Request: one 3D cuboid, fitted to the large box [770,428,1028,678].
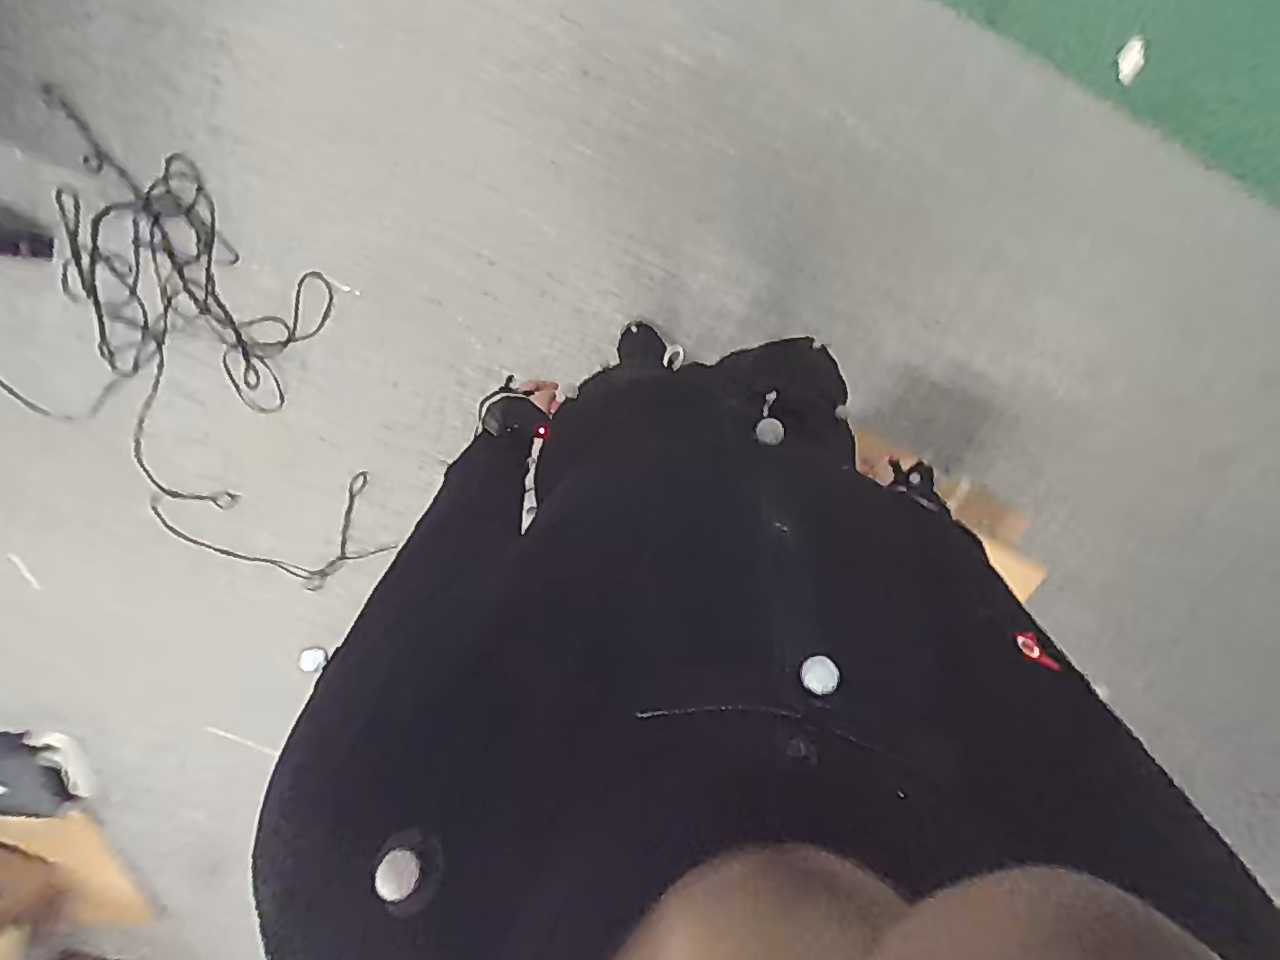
[{"bbox_3d":[0.540,0.146,1.223,0.320,0.320,0.408,25,109,-3],"label":"large box"}]
